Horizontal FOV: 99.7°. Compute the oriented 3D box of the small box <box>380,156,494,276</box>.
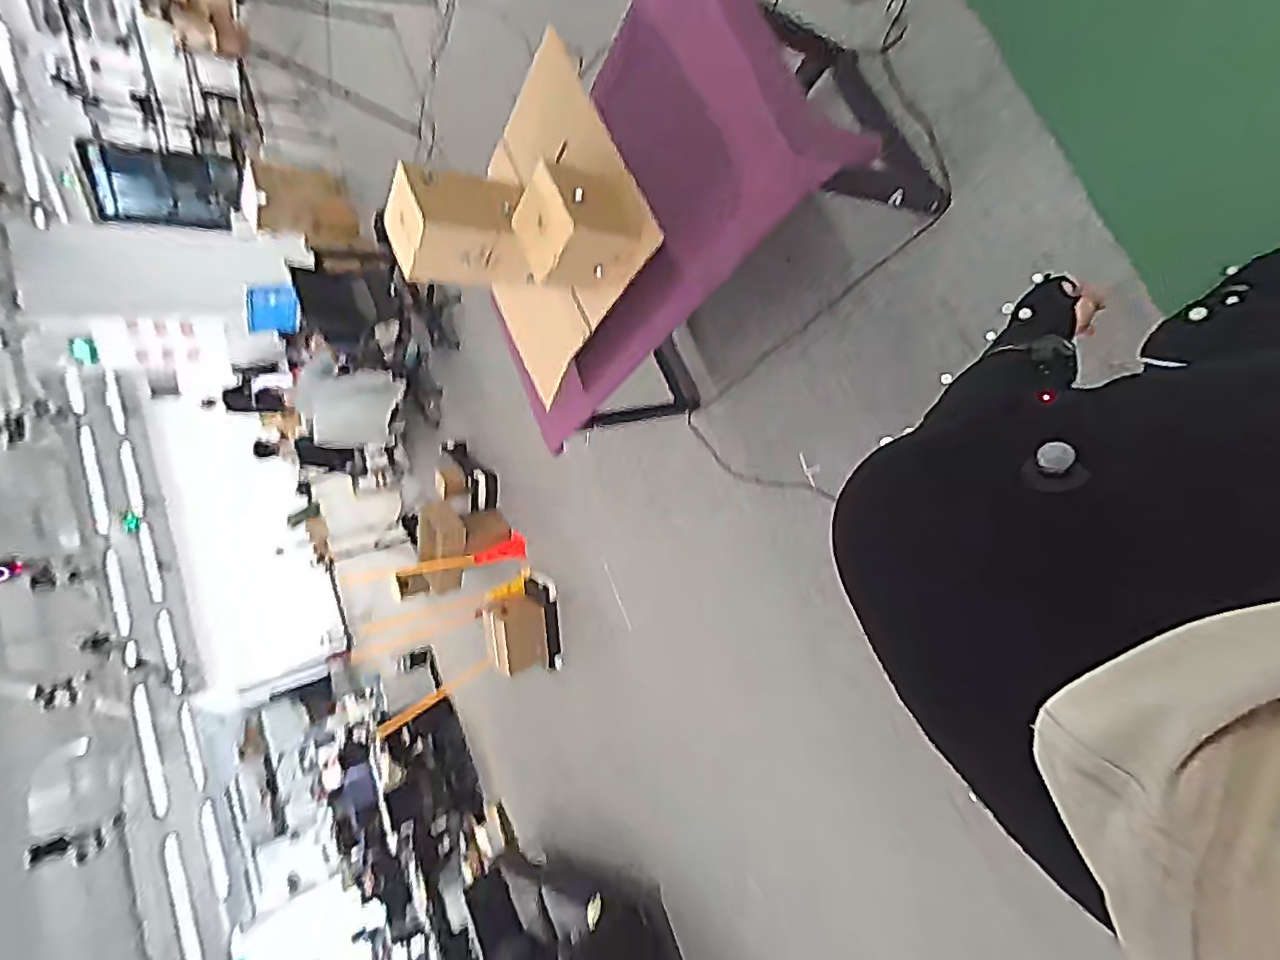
[{"bbox_3d":[-0.455,-0.578,1.212,0.168,0.176,0.179,-38,73,47],"label":"small box"}]

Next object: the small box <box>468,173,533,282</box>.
[{"bbox_3d":[-0.332,-0.606,1.319,0.168,0.176,0.179,-38,72,46],"label":"small box"}]

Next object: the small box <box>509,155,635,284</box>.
[{"bbox_3d":[-0.142,-0.530,1.128,0.168,0.176,0.179,-38,73,47],"label":"small box"}]
